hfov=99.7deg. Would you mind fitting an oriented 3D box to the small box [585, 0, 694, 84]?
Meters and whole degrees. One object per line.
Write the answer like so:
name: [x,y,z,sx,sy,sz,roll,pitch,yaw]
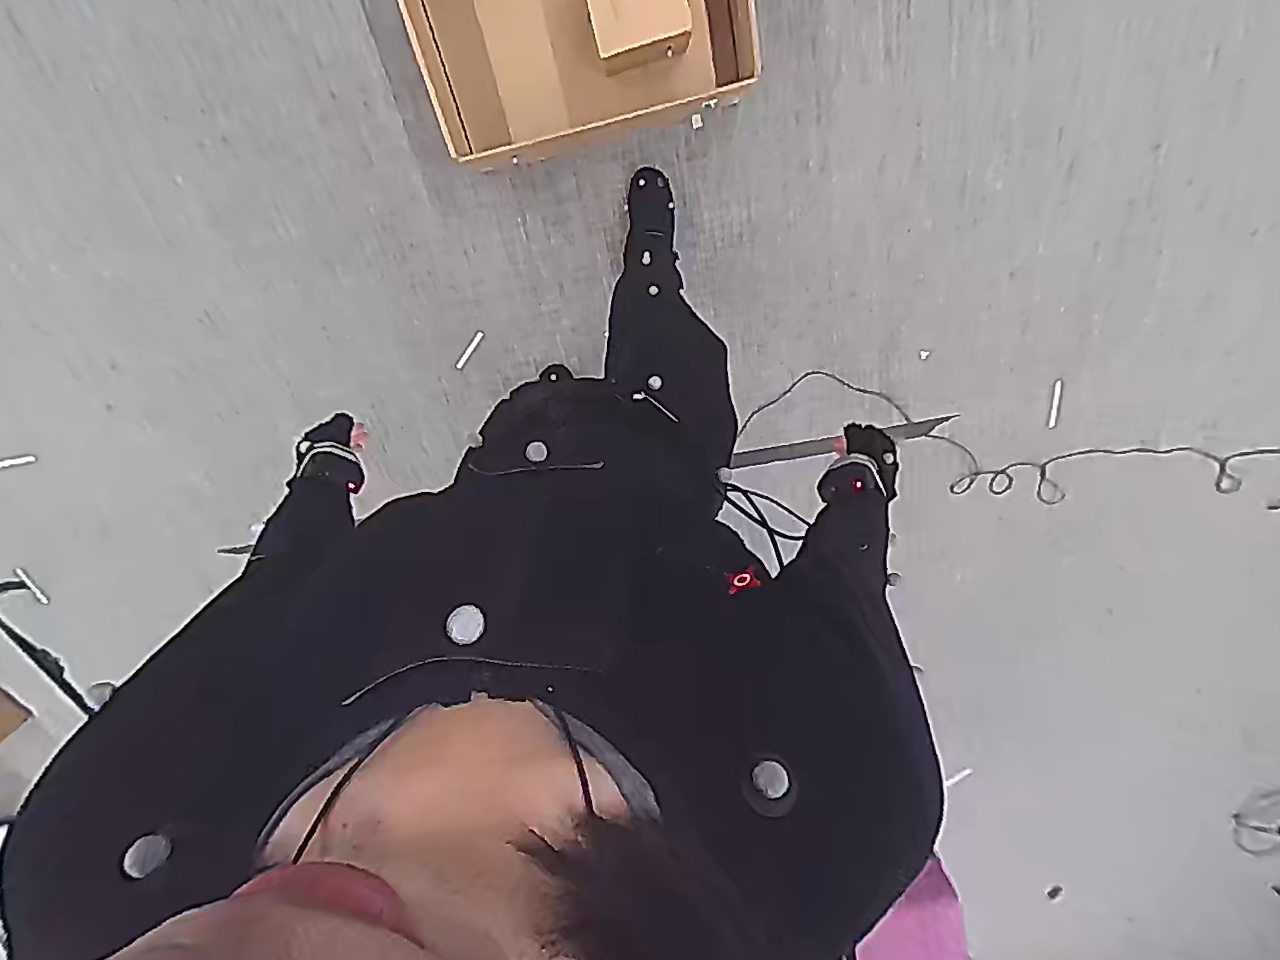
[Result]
small box: [-0.008,-0.879,1.014,0.179,0.176,0.168,-13,115,7]
